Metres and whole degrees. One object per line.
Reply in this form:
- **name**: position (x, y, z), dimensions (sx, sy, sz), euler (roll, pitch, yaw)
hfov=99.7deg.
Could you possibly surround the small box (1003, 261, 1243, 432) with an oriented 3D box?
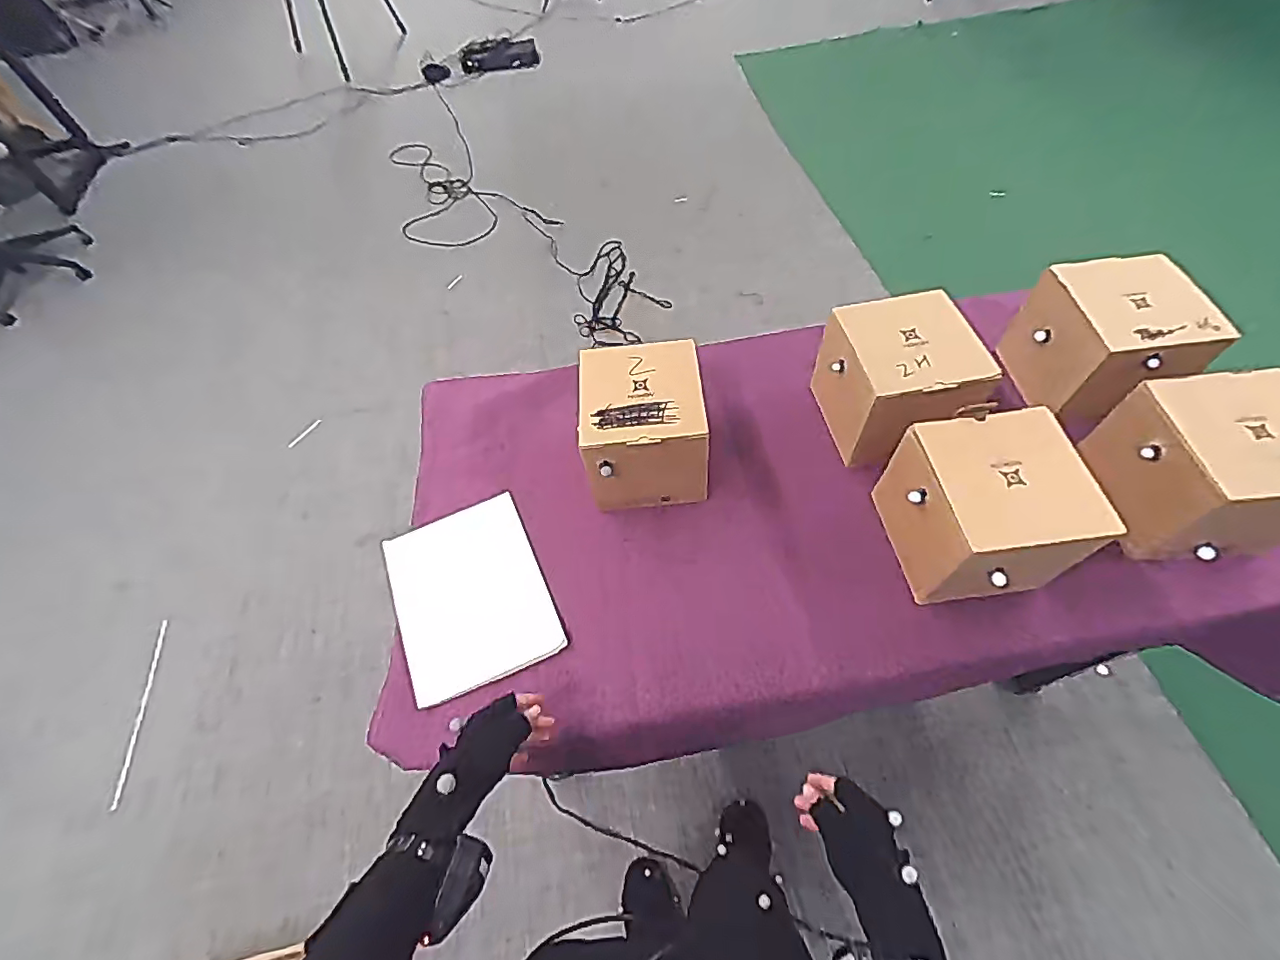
- **small box**: position (0.683, -0.193, 0.798), dimensions (0.168, 0.176, 0.179), euler (-6, 57, 2)

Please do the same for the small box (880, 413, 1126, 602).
- **small box**: position (0.426, 0.043, 0.675), dimensions (0.168, 0.176, 0.179), euler (-7, 58, 1)

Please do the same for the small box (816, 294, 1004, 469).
- **small box**: position (0.375, -0.140, 0.793), dimensions (0.168, 0.176, 0.179), euler (-9, 58, -1)
